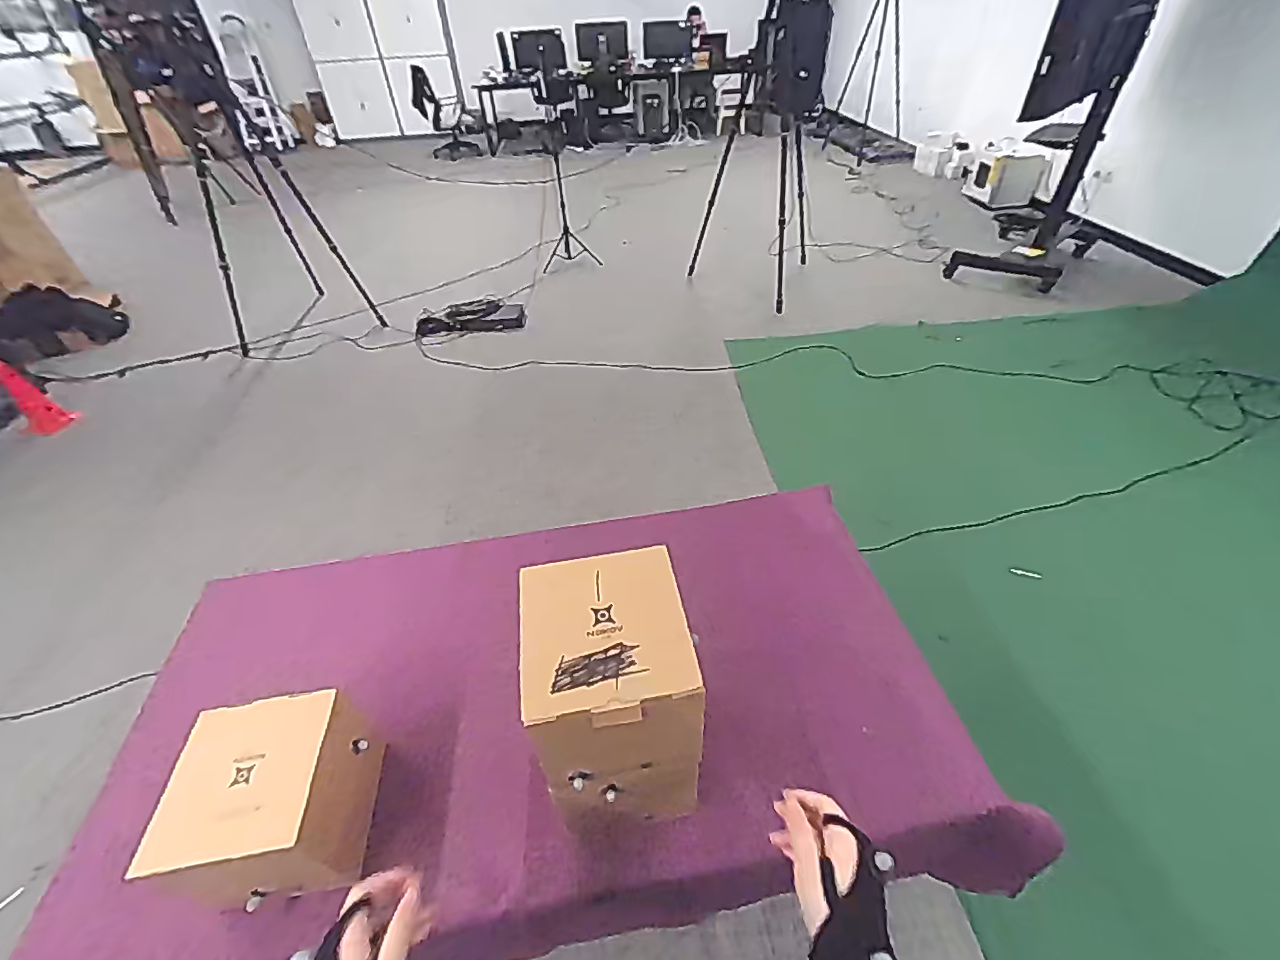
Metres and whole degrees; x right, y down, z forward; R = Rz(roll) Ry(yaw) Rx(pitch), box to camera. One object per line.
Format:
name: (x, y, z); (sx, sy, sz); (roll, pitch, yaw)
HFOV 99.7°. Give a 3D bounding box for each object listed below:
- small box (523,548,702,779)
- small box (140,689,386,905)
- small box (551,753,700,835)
small box: (-0.030, 0.204, 0.593); (0.168, 0.176, 0.179); (-9, 42, -5)
small box: (-0.437, 0.389, 0.668); (0.168, 0.176, 0.179); (-8, 43, -4)
small box: (-0.022, 0.326, 0.703); (0.168, 0.176, 0.179); (-9, 42, -4)
